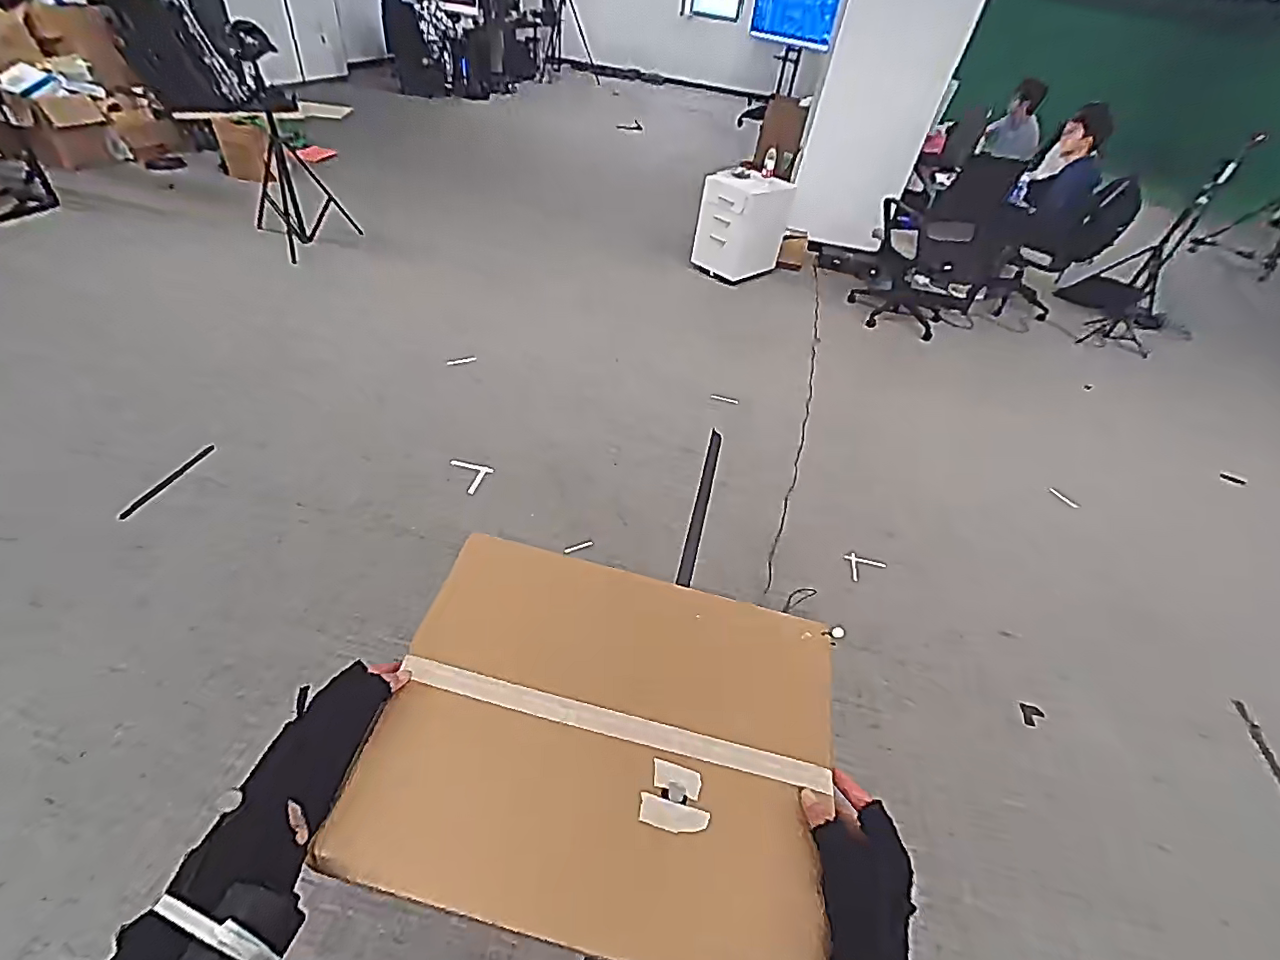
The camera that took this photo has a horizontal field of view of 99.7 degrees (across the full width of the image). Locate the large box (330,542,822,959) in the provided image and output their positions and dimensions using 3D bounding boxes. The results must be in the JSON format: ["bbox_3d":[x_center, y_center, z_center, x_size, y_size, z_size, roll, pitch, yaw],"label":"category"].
[{"bbox_3d":[-0.043,0.320,0.626,0.408,0.320,0.320,15,51,3],"label":"large box"}]
